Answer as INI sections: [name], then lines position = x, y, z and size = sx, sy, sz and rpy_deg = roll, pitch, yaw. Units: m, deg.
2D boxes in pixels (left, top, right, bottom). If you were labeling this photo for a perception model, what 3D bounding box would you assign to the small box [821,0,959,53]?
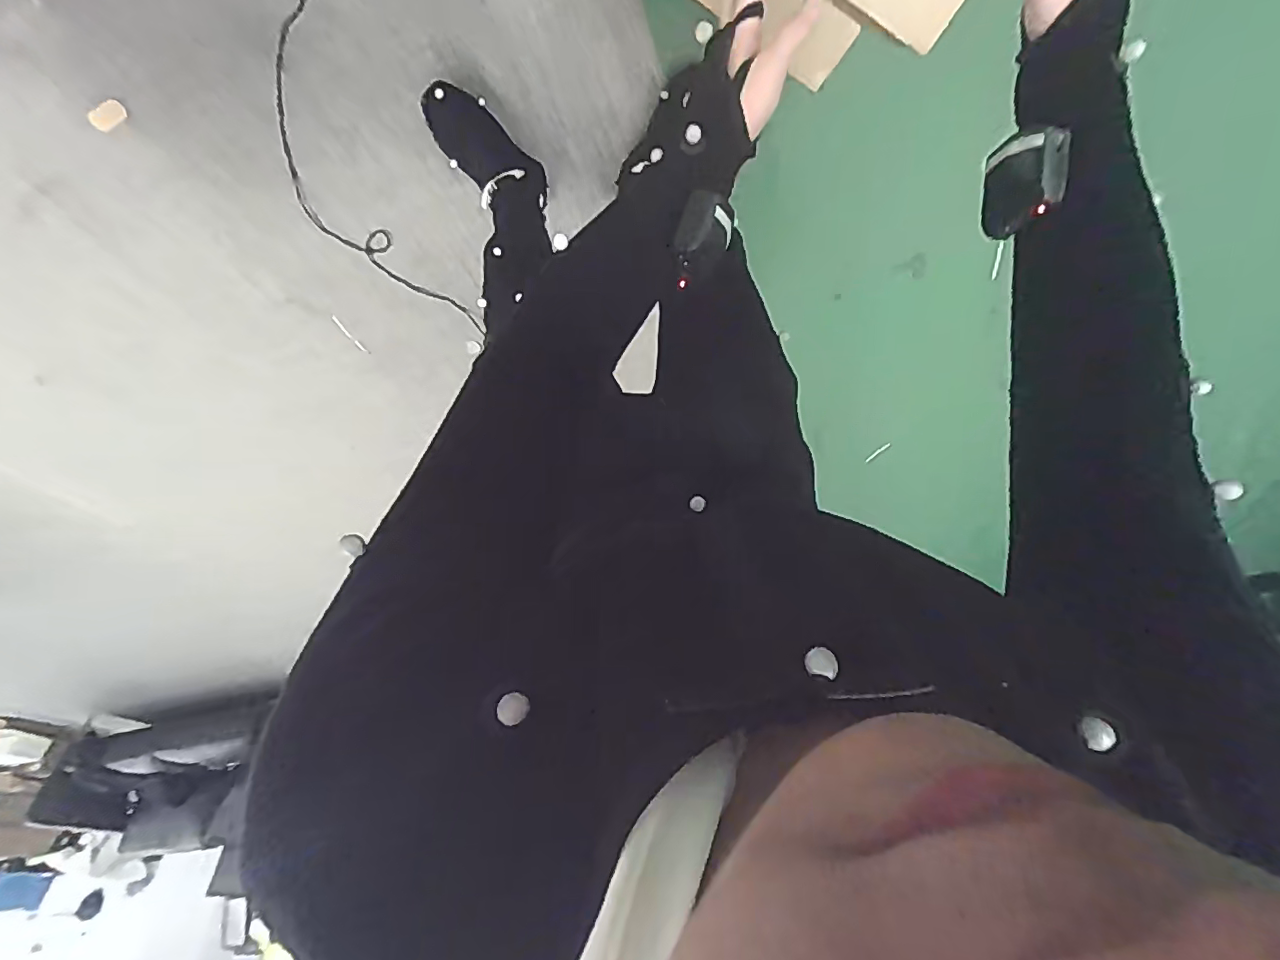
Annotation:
[small box]
position = 0.204, -0.500, 0.445
size = 0.179, 0.176, 0.168
rpy_deg = 21, 132, -18
